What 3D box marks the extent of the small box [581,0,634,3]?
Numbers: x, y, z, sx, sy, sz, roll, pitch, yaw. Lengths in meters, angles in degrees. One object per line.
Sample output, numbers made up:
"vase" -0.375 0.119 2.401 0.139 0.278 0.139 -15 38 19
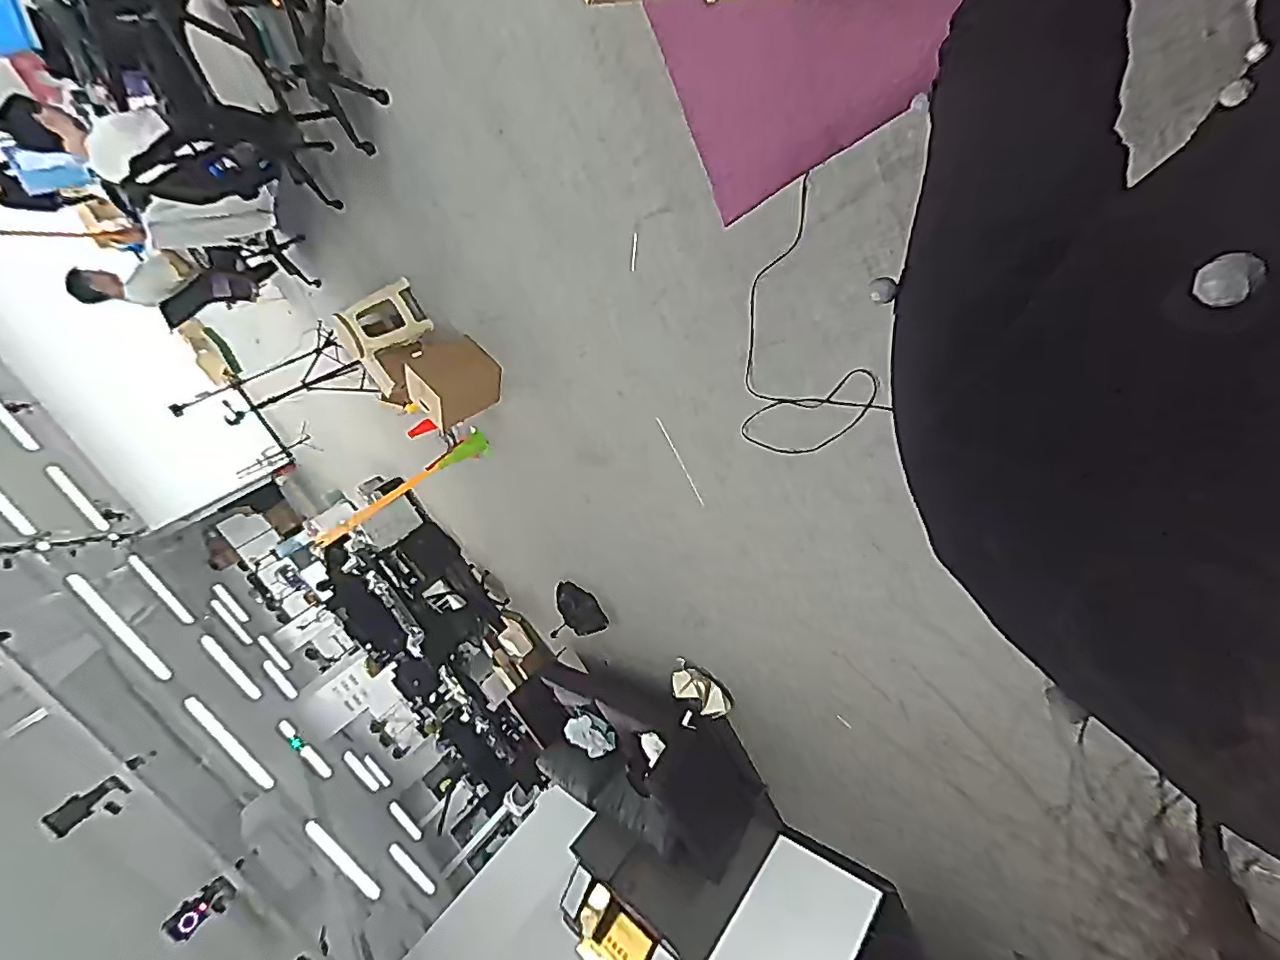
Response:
"small box" 0.019 -0.507 0.398 0.179 0.176 0.168 -10 112 54
